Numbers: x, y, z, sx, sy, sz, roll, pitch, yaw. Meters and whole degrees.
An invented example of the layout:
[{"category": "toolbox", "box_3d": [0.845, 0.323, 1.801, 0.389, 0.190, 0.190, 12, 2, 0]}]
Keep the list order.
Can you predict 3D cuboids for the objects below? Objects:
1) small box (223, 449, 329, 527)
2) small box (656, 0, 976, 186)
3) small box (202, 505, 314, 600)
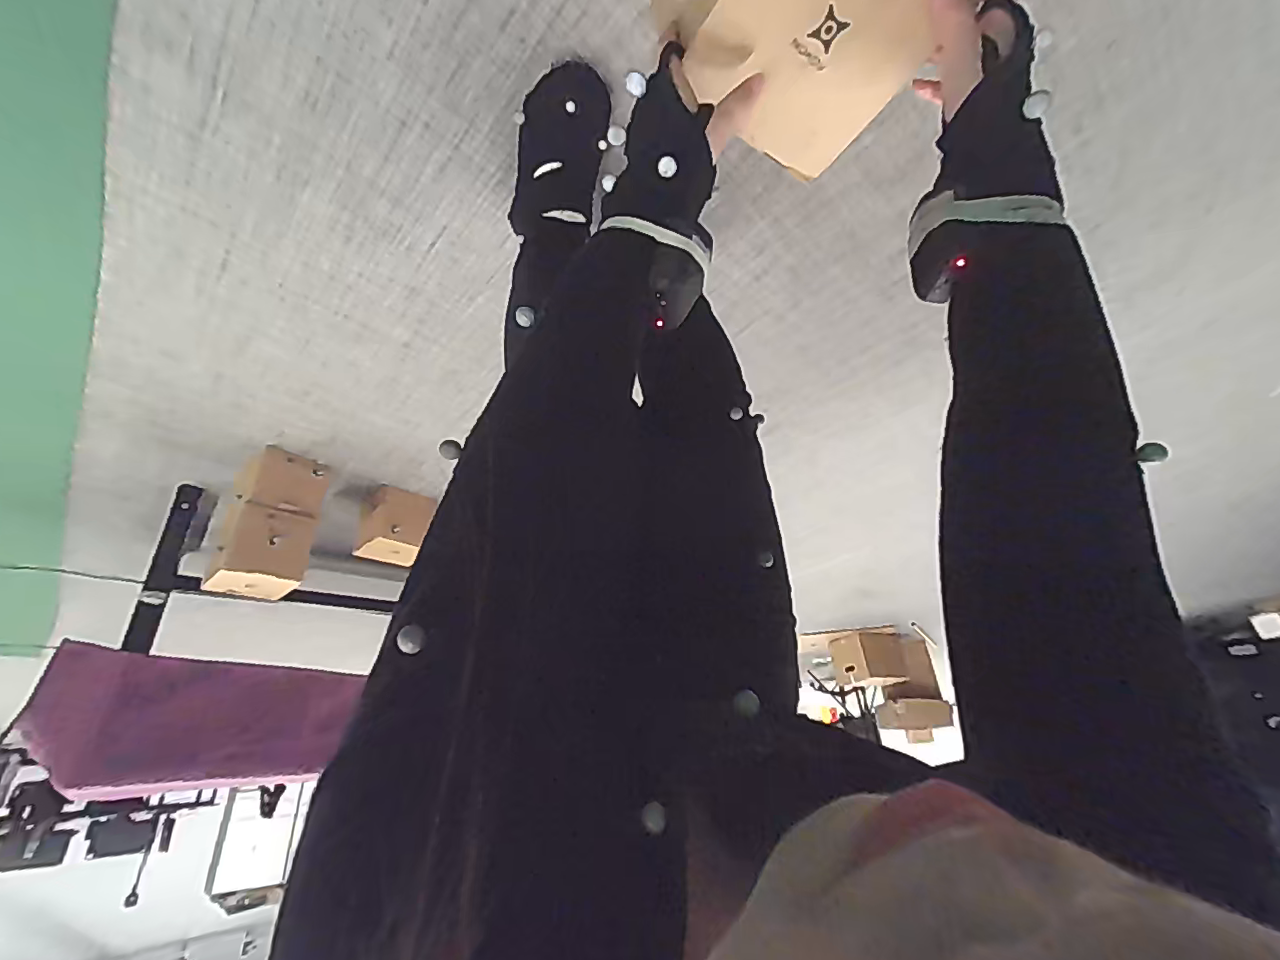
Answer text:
[{"category": "small box", "box_3d": [-0.947, 0.041, 1.420, 0.179, 0.176, 0.168, -23, 145, 31]}, {"category": "small box", "box_3d": [0.125, -0.398, 0.443, 0.168, 0.176, 0.179, 14, 145, -31]}, {"category": "small box", "box_3d": [-0.933, 0.180, 1.333, 0.179, 0.176, 0.168, -27, 143, 33]}]
